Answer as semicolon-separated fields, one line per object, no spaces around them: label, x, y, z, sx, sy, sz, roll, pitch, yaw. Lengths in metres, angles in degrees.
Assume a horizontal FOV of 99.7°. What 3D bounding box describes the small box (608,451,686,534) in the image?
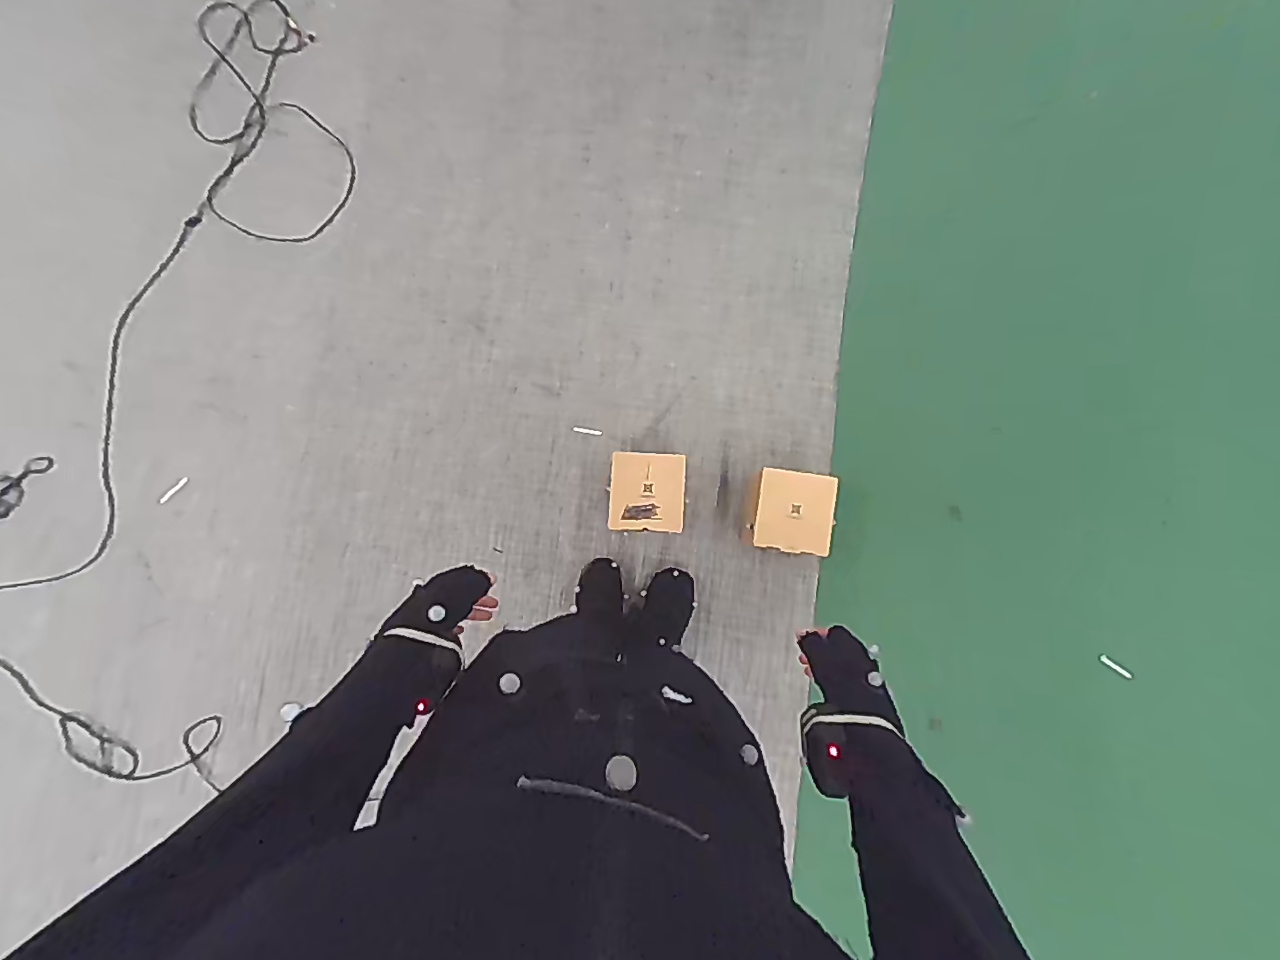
small box;0.020;0.035;1.275;0.168;0.176;0.179;3;84;2

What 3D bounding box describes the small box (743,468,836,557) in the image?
small box;0.341;0.078;1.259;0.168;0.176;0.179;9;85;4
